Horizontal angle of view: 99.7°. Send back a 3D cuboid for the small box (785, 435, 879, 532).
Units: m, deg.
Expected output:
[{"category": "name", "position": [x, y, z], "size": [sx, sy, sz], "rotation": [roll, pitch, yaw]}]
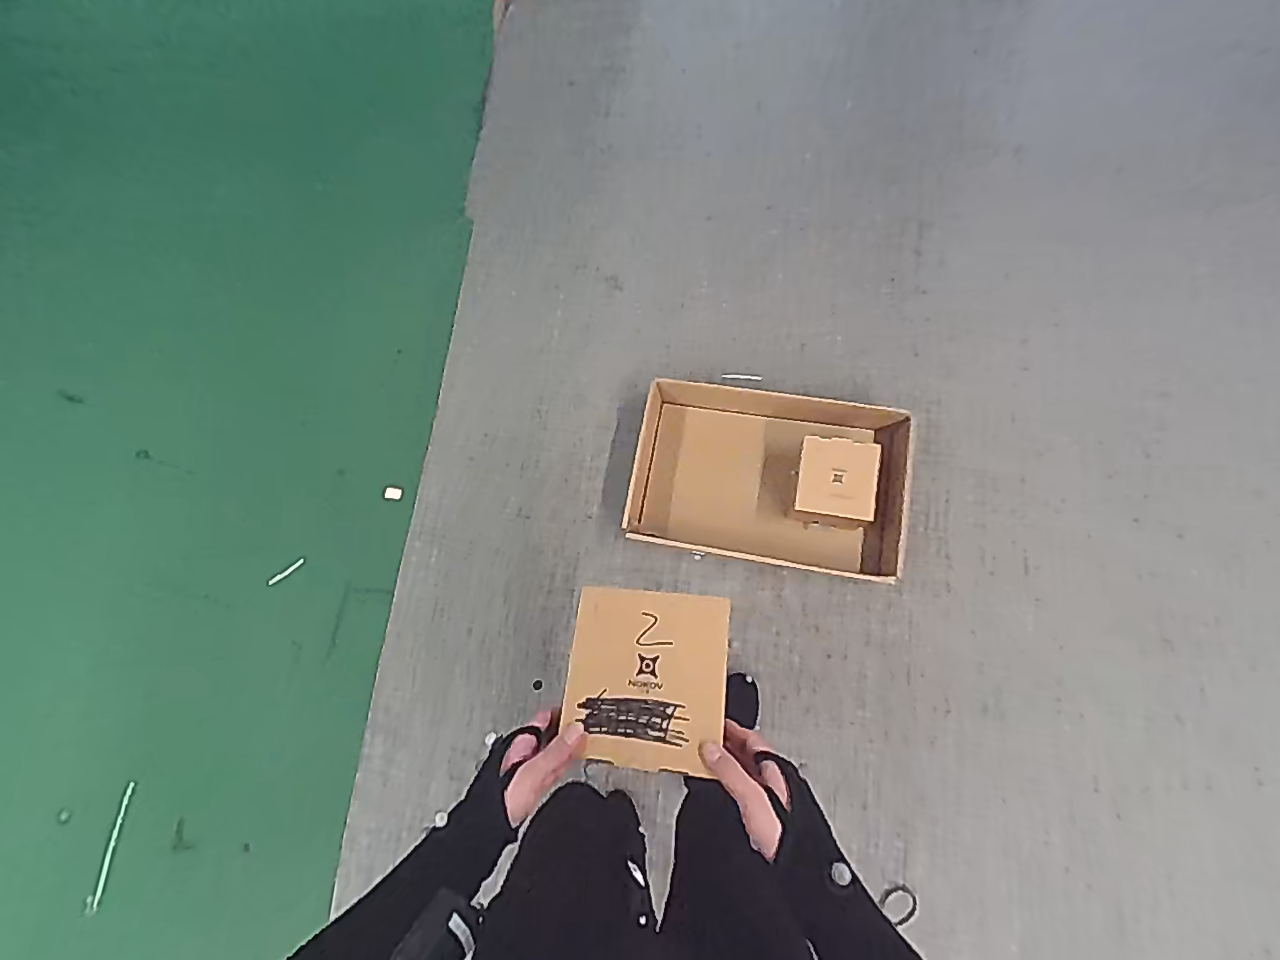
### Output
[{"category": "small box", "position": [0.438, 0.012, 1.257], "size": [0.168, 0.176, 0.179], "rotation": [9, 79, 10]}]
